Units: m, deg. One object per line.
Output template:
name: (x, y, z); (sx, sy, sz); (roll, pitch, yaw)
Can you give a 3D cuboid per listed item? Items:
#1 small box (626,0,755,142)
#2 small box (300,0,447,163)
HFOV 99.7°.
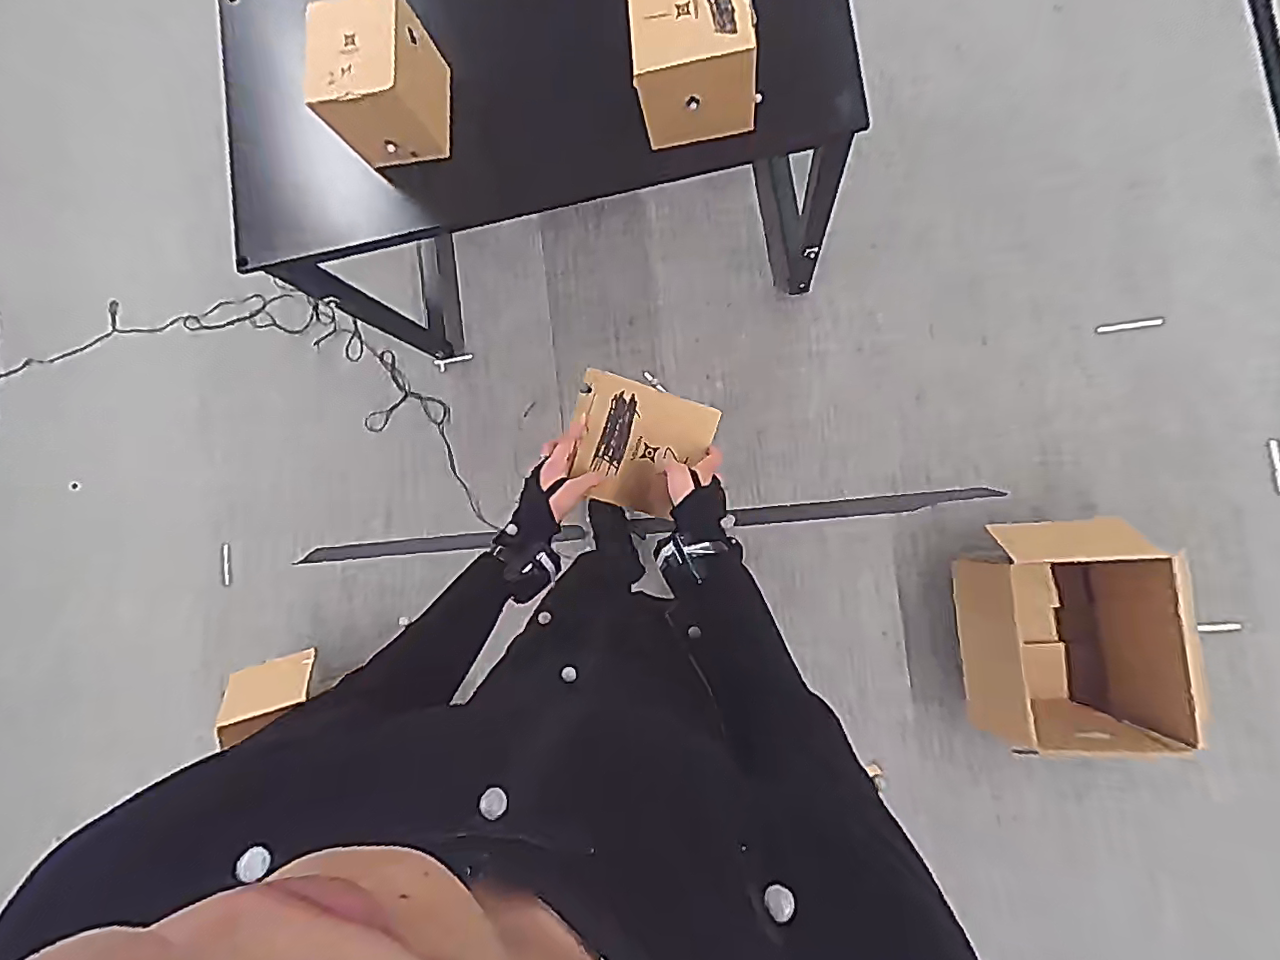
small box: (0.081, -0.668, 0.839); (0.179, 0.176, 0.168); (-5, 85, 11)
small box: (-0.453, -0.692, 0.939); (0.168, 0.176, 0.179); (-2, 87, 11)
